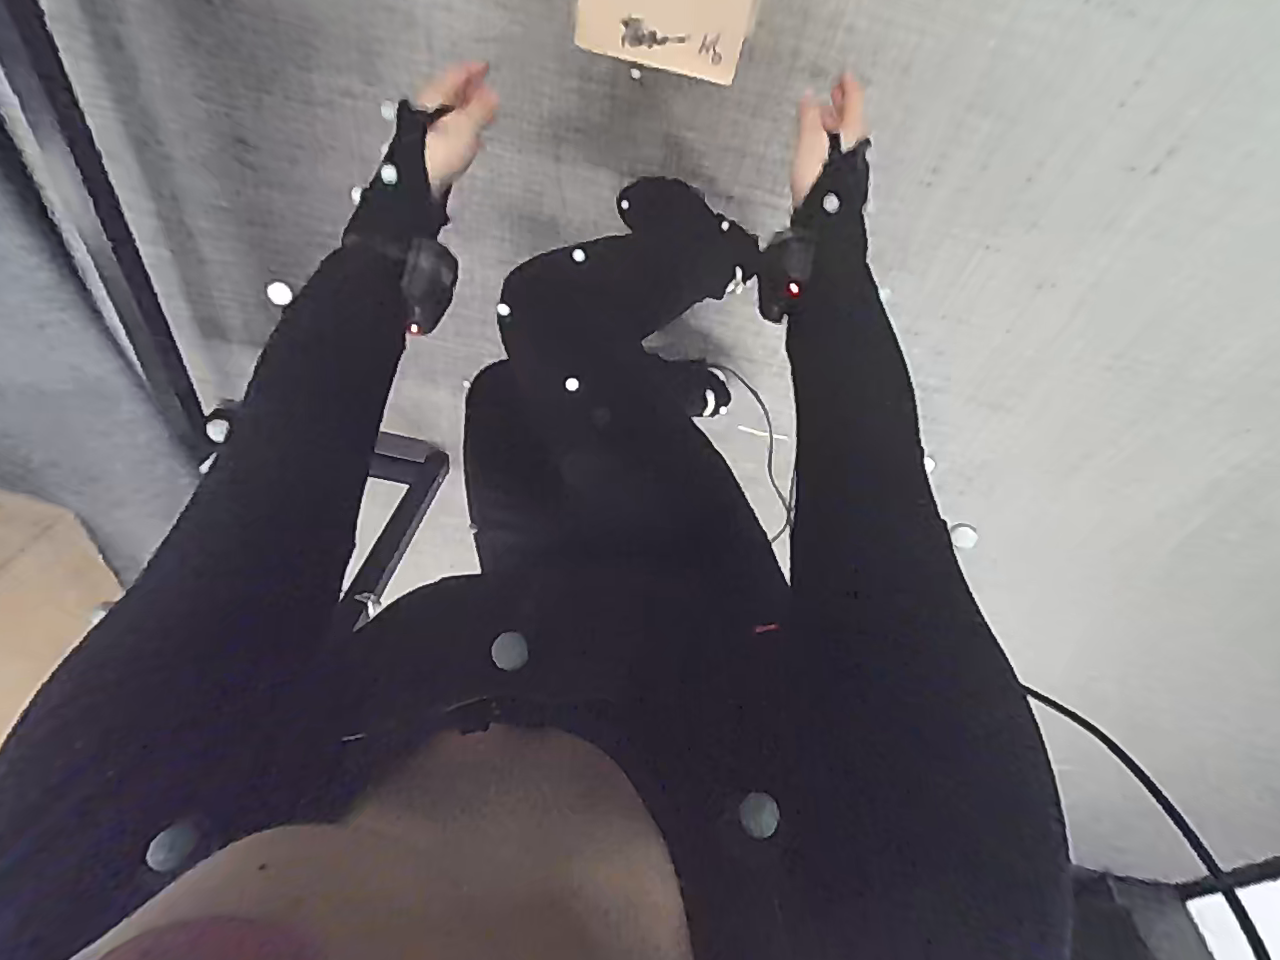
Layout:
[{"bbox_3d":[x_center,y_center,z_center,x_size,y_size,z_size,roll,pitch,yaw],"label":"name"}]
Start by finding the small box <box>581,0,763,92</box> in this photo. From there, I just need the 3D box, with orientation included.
[{"bbox_3d":[0.043,-0.529,0.549,0.168,0.176,0.179,12,131,-5],"label":"small box"}]
